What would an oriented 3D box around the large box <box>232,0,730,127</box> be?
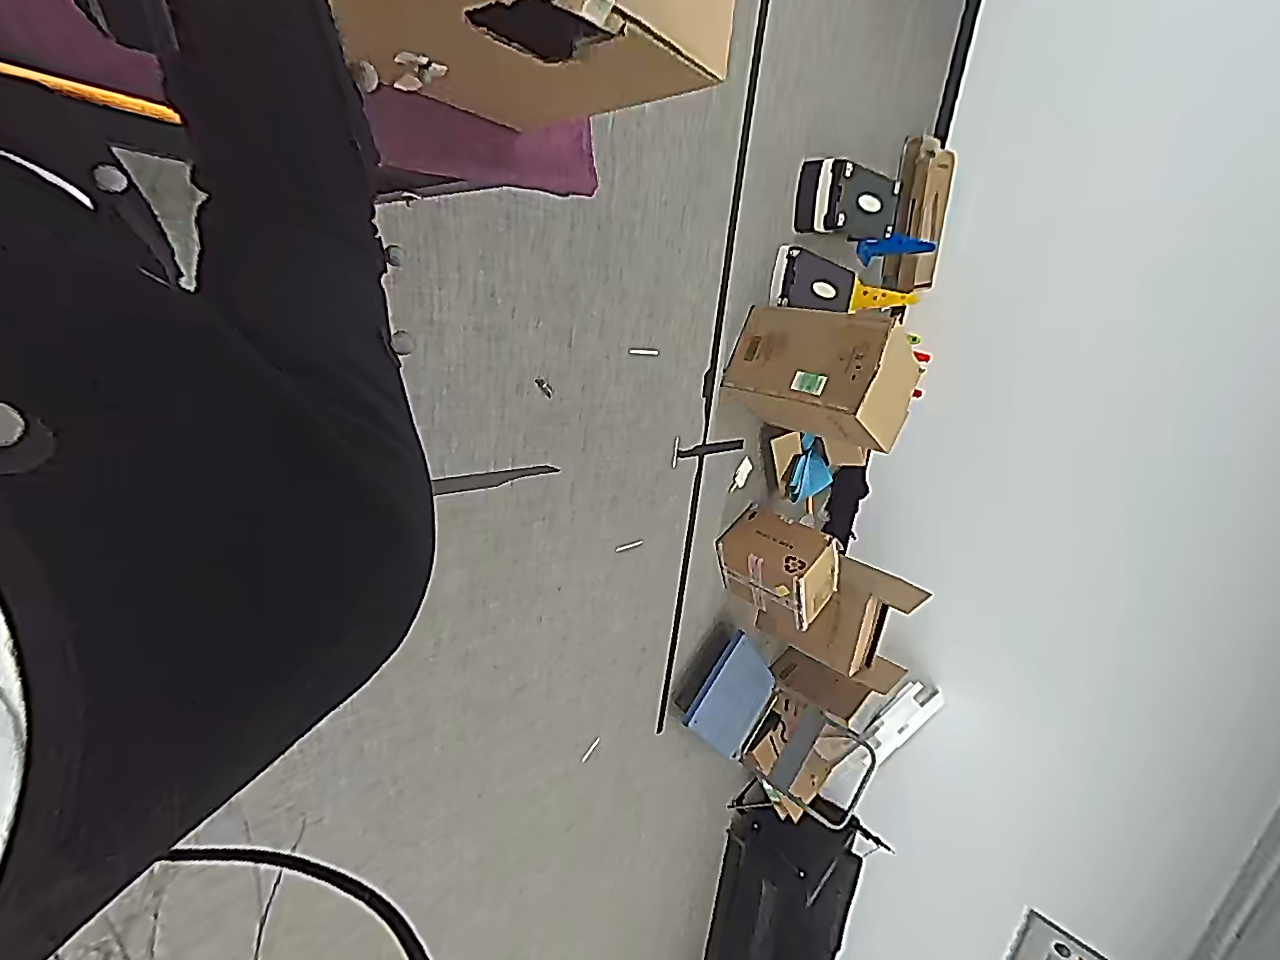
[{"bbox_3d":[-0.123,-0.560,0.415,0.320,0.320,0.408,-13,114,-46],"label":"large box"}]
